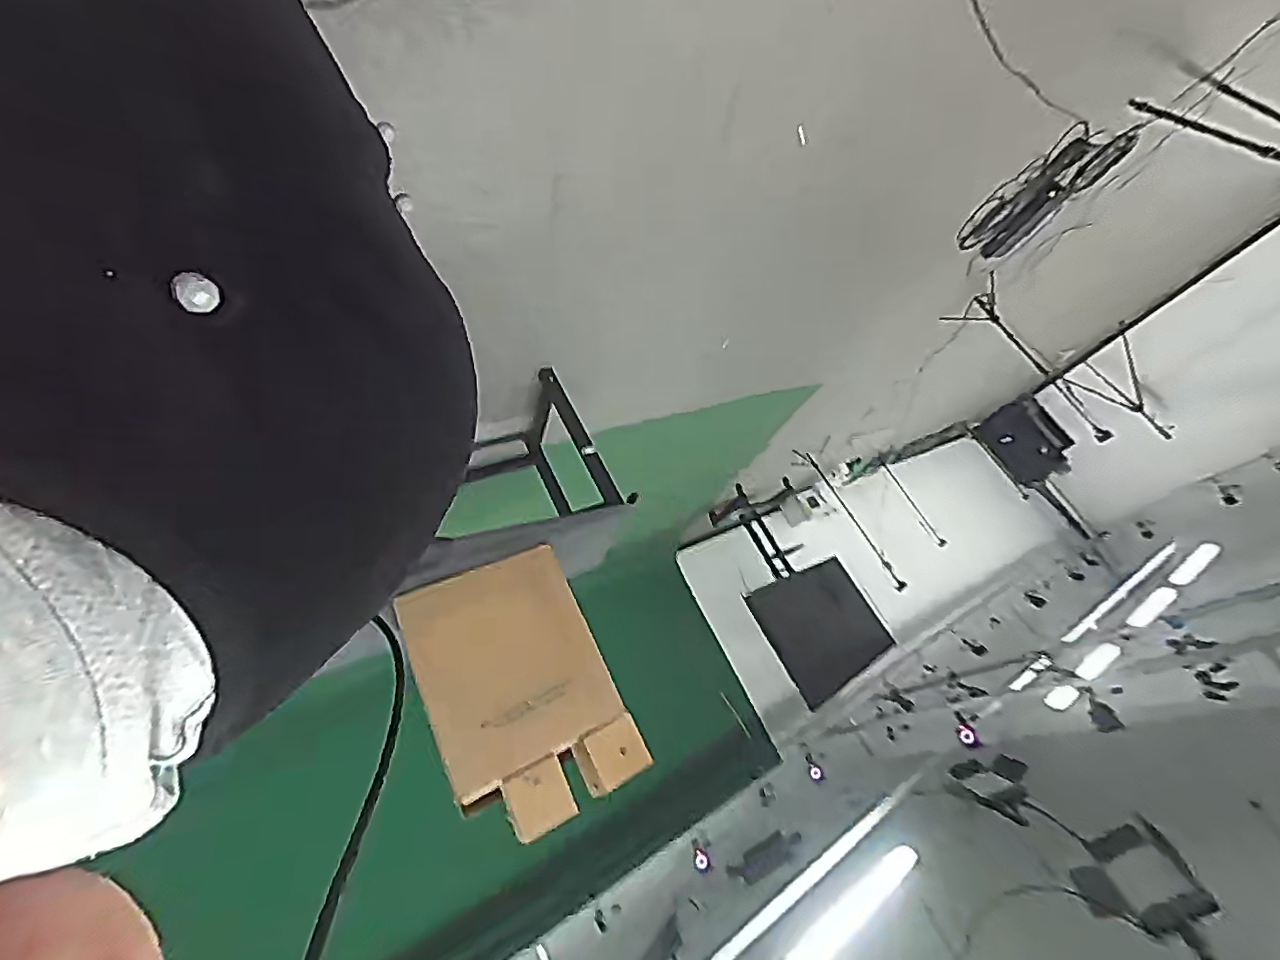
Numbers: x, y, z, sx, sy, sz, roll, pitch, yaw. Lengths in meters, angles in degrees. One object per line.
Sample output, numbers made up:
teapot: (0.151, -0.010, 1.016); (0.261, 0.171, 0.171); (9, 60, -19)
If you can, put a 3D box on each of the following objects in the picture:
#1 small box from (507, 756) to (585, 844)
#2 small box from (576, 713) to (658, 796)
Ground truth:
small box: (-0.286, 0.950, 1.613); (0.168, 0.176, 0.179); (-19, 156, -27)
small box: (-0.077, 0.873, 1.724); (0.179, 0.176, 0.168); (-19, 156, -32)
